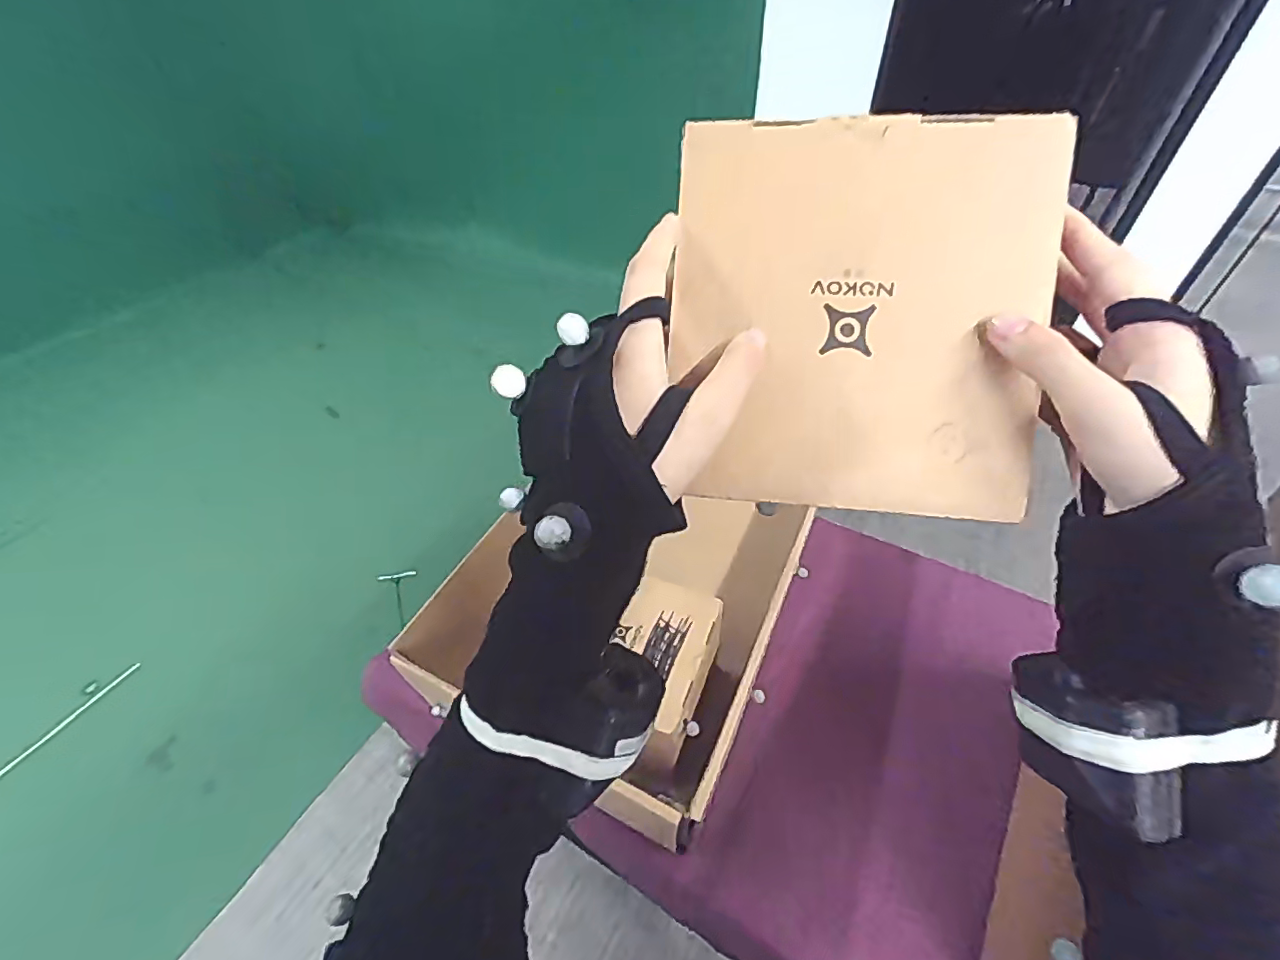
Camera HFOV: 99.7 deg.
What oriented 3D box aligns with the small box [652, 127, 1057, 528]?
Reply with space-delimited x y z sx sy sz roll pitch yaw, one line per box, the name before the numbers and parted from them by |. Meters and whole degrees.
small box | 0.106 -0.076 0.329 0.168 0.179 0.176 4 5 9
